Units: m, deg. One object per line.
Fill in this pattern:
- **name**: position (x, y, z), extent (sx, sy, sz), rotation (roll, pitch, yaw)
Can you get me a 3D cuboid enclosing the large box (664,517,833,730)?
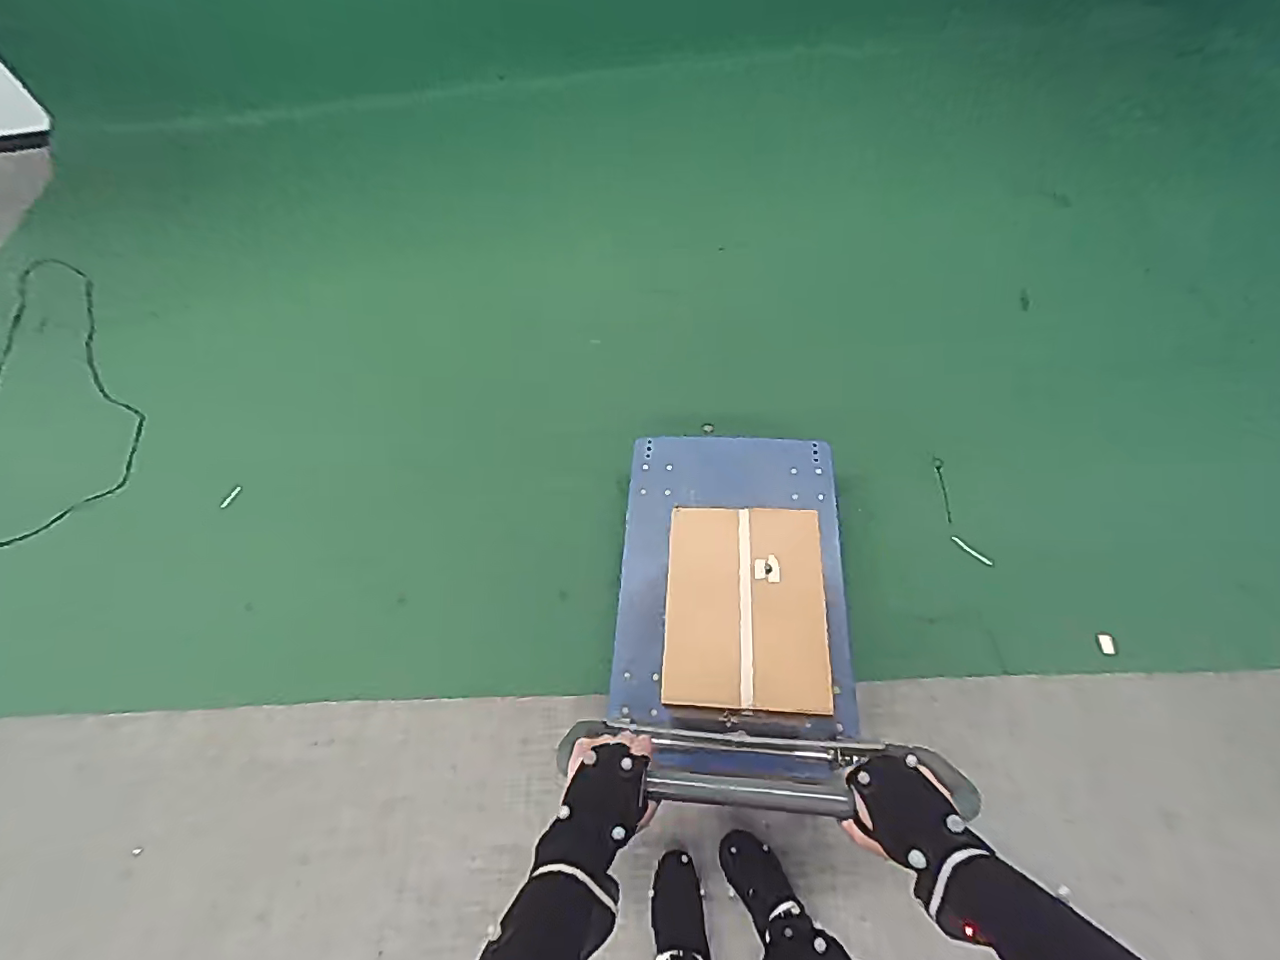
- **large box**: position (0.228, 0.329, 1.216), extent (0.320, 0.320, 0.408), rotation (1, 62, 7)
